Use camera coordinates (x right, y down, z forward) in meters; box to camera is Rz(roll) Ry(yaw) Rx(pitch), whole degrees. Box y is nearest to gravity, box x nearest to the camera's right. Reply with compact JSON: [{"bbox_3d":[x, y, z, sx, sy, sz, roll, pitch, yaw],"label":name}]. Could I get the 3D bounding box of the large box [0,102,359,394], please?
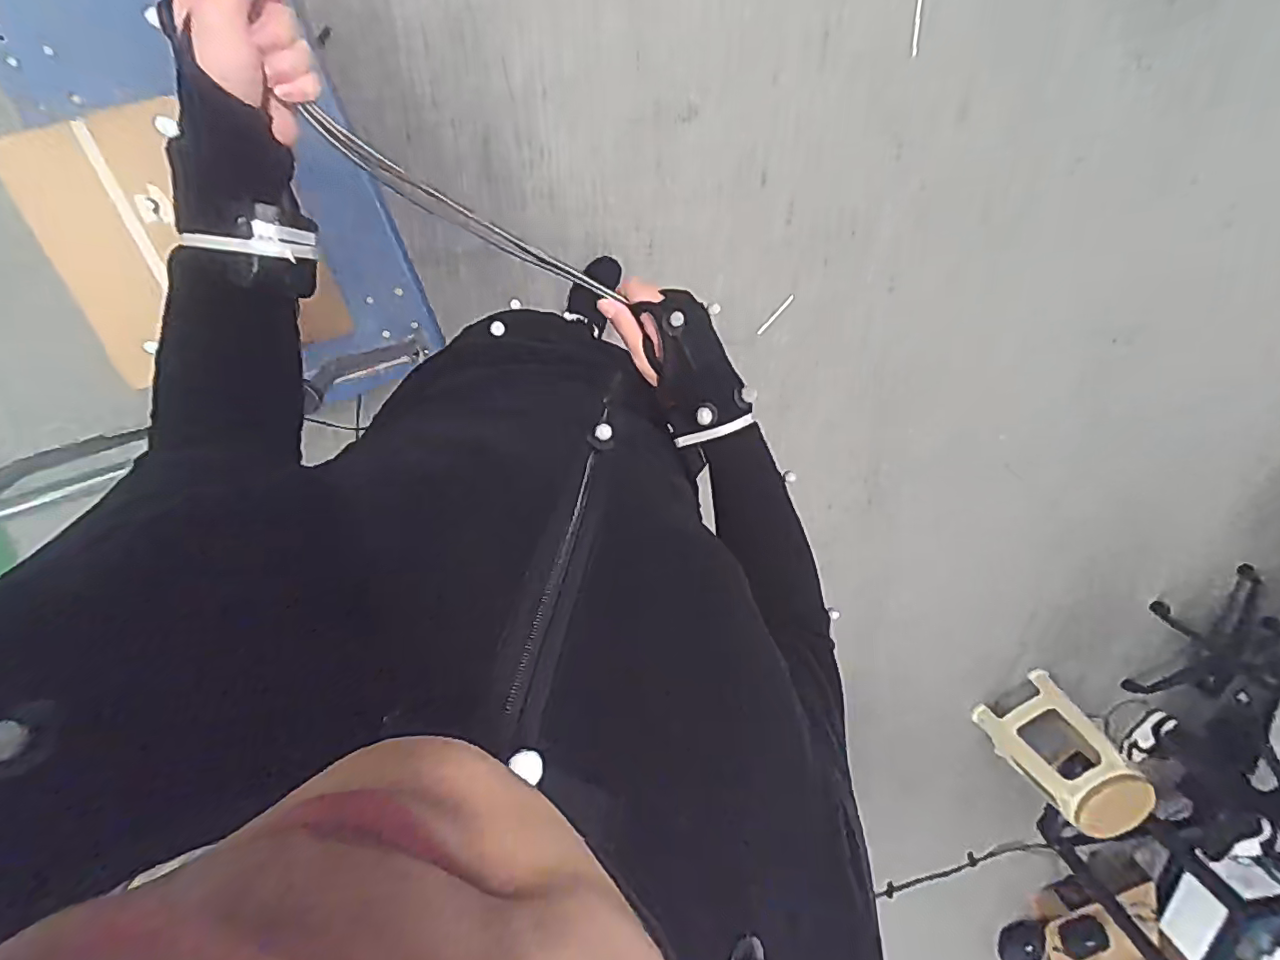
[{"bbox_3d":[-0.826,-0.423,1.045,0.320,0.320,0.408,-16,112,-2],"label":"large box"}]
